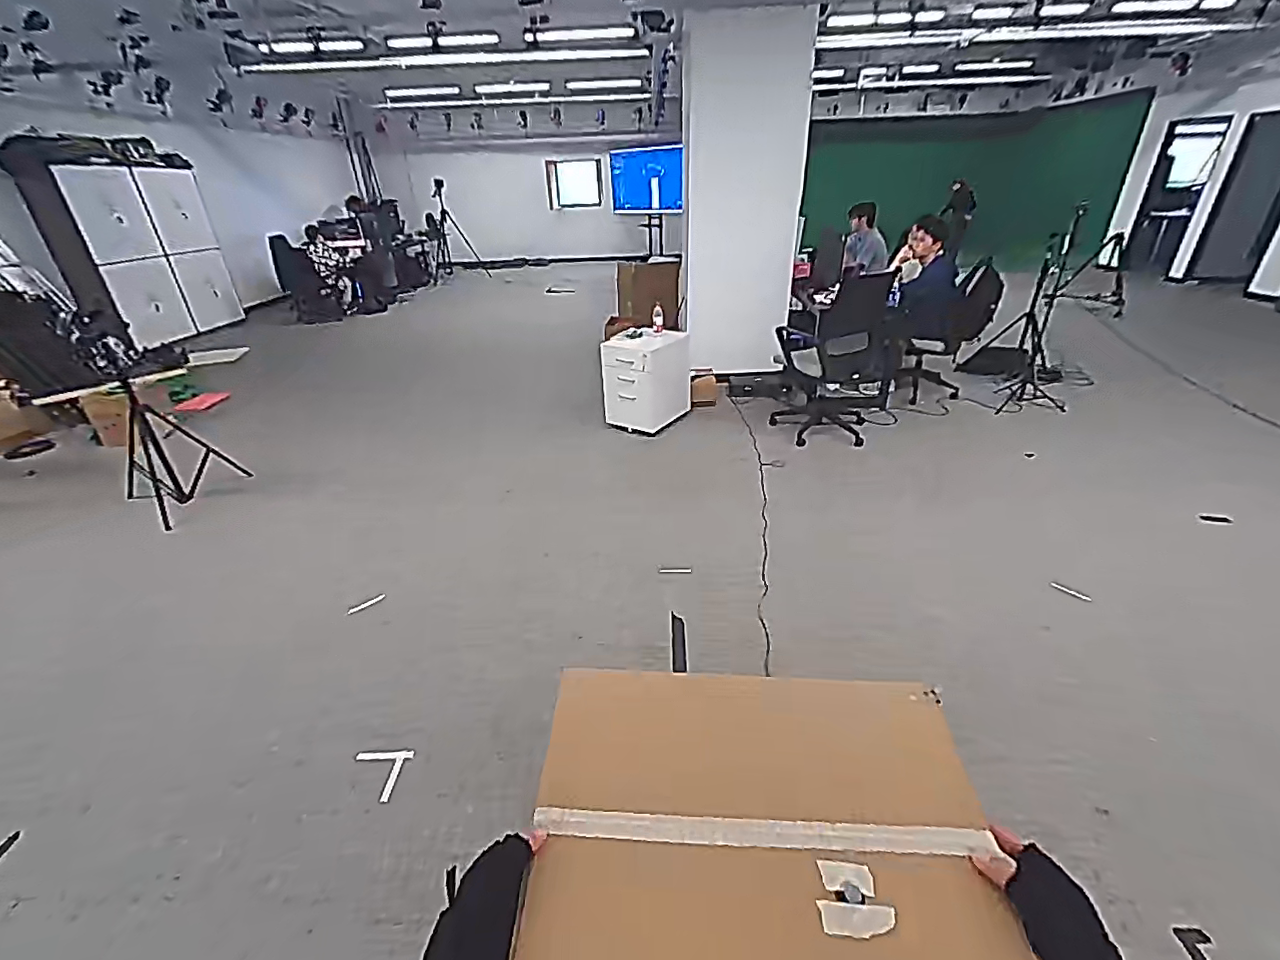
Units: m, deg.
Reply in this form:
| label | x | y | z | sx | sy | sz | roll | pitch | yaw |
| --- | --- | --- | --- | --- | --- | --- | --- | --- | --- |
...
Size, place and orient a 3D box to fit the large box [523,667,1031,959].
| label | x | y | z | sx | sy | sz | roll | pitch | yaw |
| --- | --- | --- | --- | --- | --- | --- | --- | --- | --- |
| large box | 0.110 | 0.431 | 0.586 | 0.408 | 0.320 | 0.320 | 2 | 39 | 3 |
